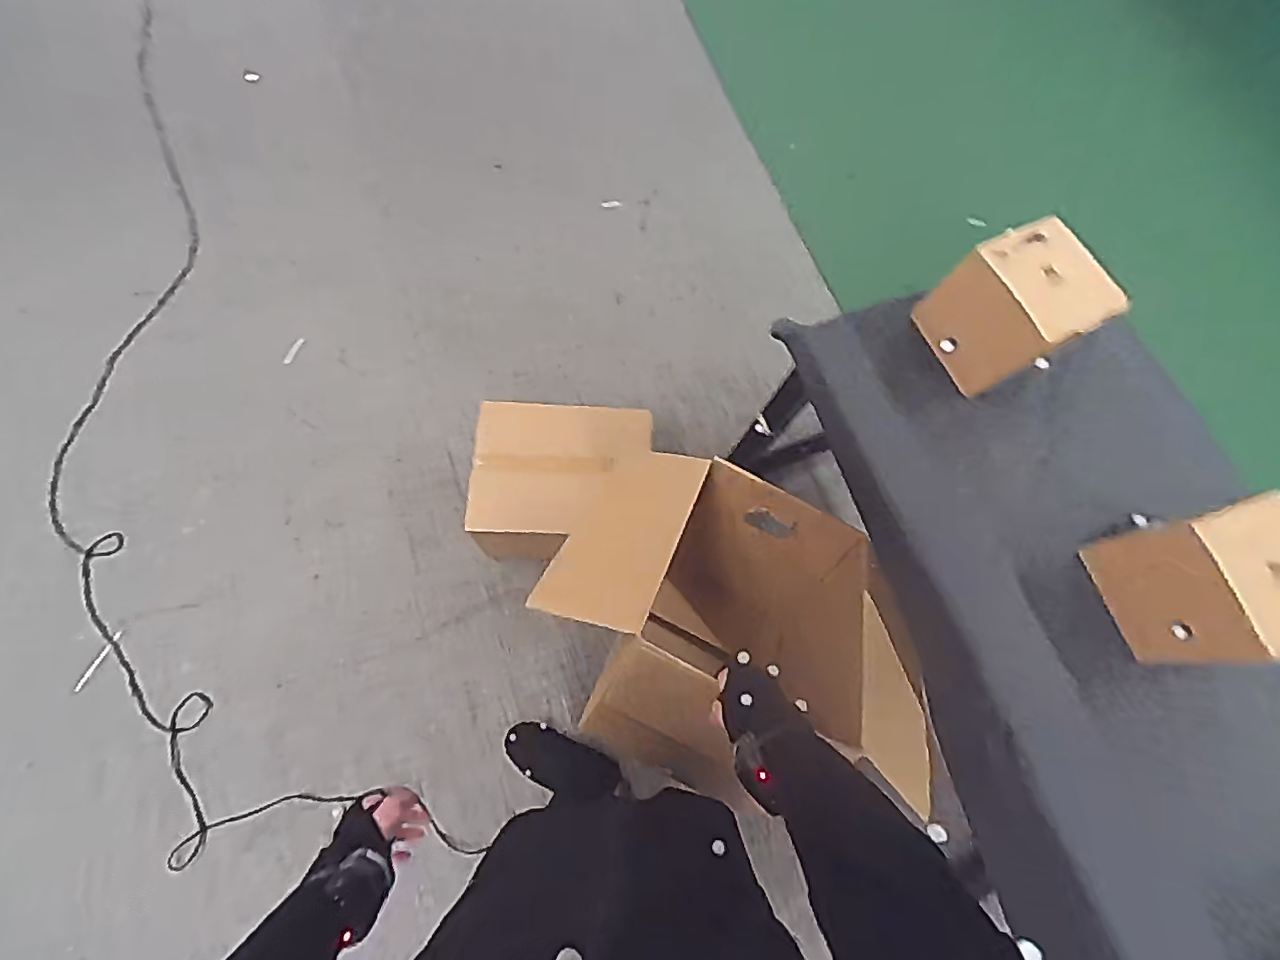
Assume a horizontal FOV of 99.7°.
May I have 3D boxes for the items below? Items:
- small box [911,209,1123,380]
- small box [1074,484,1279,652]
[{"bbox_3d":[0.576,-0.278,0.849,0.168,0.176,0.179,-23,78,-14],"label":"small box"},{"bbox_3d":[0.772,0.128,0.749,0.168,0.176,0.179,-15,74,-13],"label":"small box"}]
